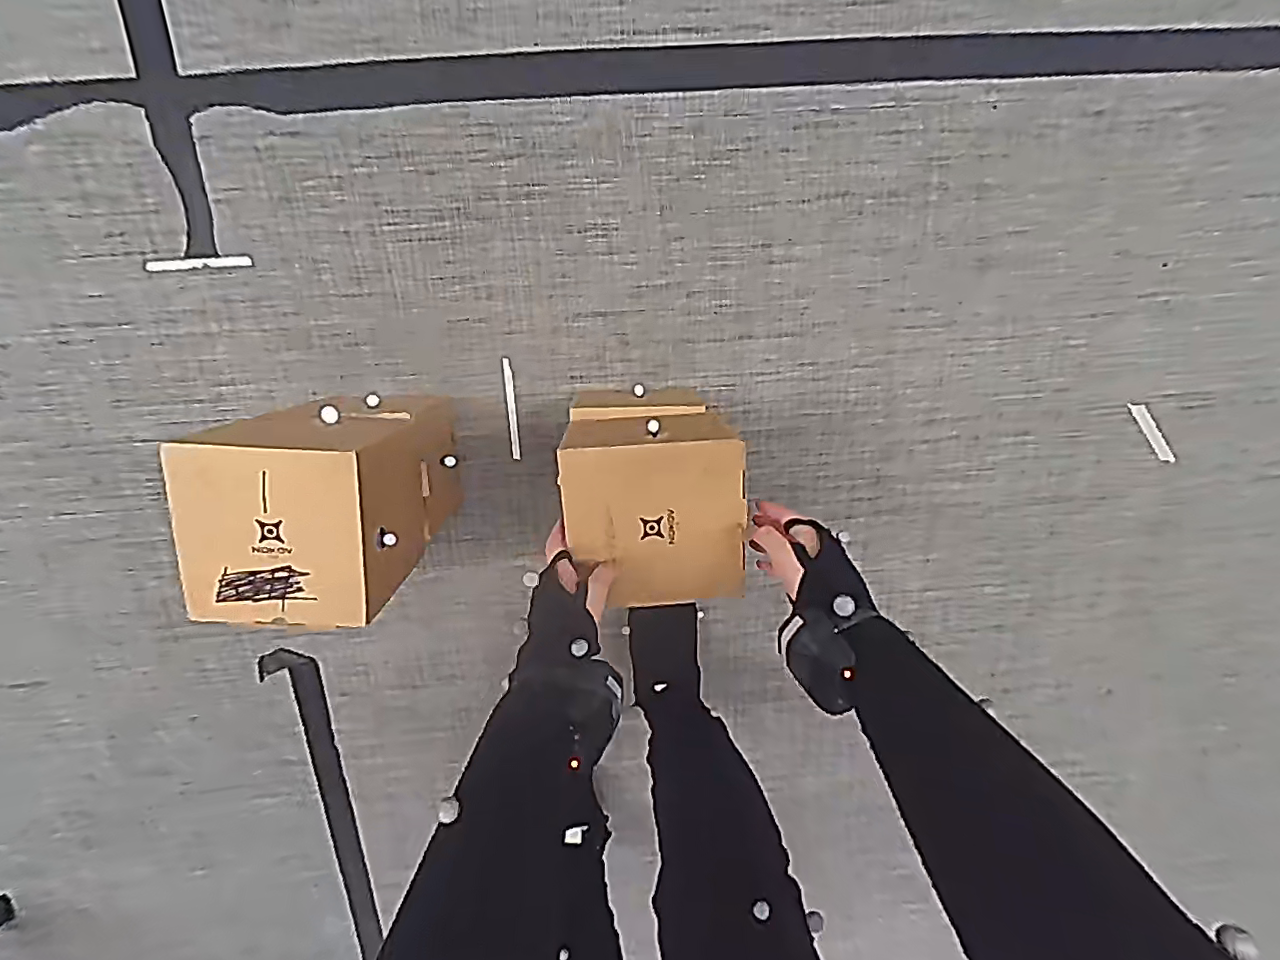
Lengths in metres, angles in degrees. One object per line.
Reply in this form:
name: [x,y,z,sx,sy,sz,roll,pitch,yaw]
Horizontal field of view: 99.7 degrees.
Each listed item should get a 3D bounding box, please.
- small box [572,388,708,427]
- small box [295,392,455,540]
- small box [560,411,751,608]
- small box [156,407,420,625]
small box: [-0.006,-0.032,0.738,0.168,0.176,0.179,-1,107,-3]
small box: [-0.354,-0.025,0.718,0.179,0.176,0.168,-2,107,-4]
small box: [0.012,0.020,0.585,0.179,0.176,0.168,-3,106,-2]
small box: [-0.339,0.028,0.563,0.168,0.176,0.179,3,106,-5]
